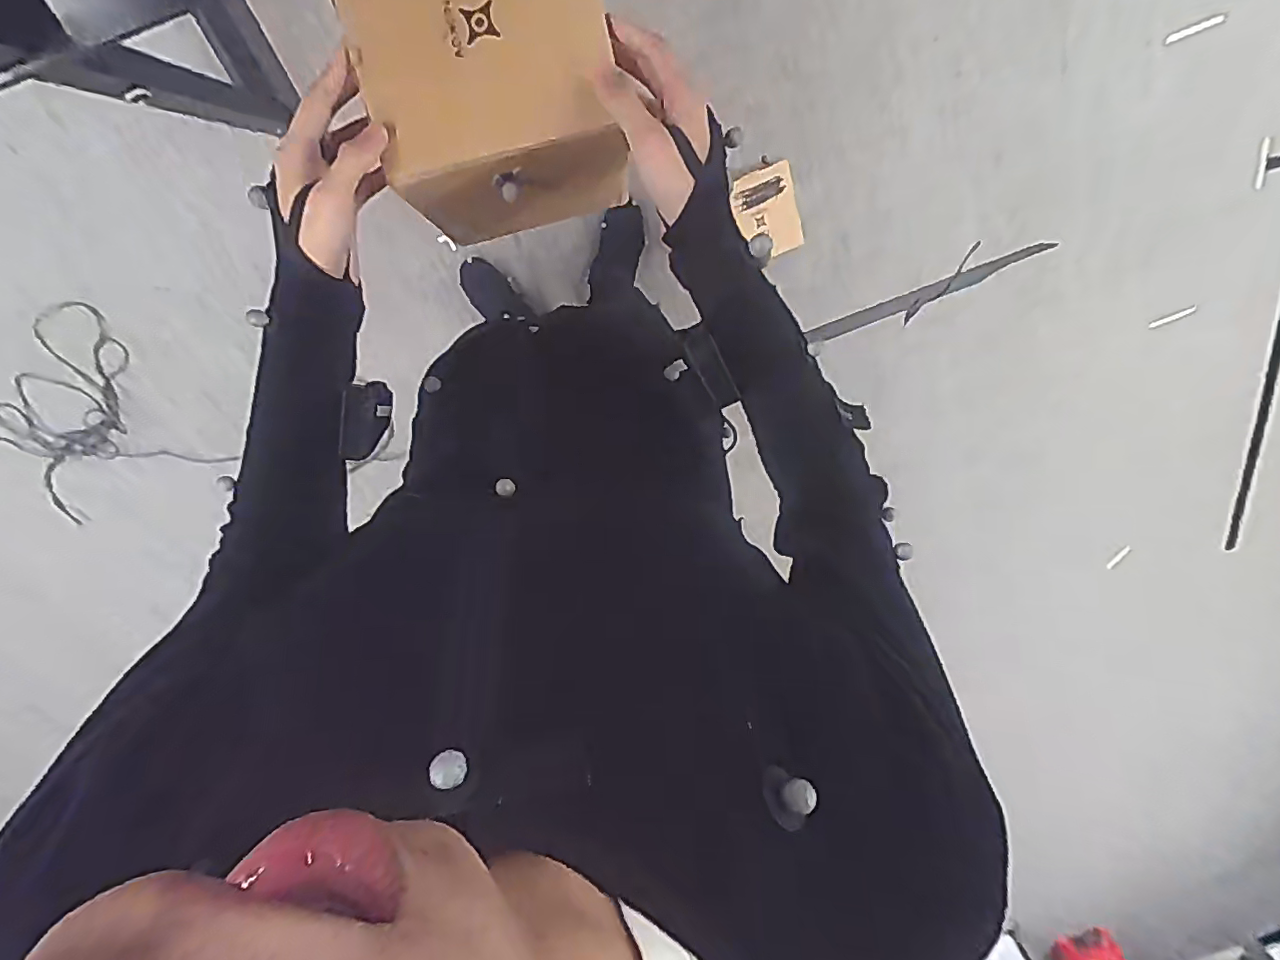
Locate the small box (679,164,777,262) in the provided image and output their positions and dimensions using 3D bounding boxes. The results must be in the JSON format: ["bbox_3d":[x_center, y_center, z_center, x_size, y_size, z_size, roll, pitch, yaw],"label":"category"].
[{"bbox_3d":[0.214,-0.666,1.349,0.179,0.176,0.168,-23,118,3],"label":"small box"}]
